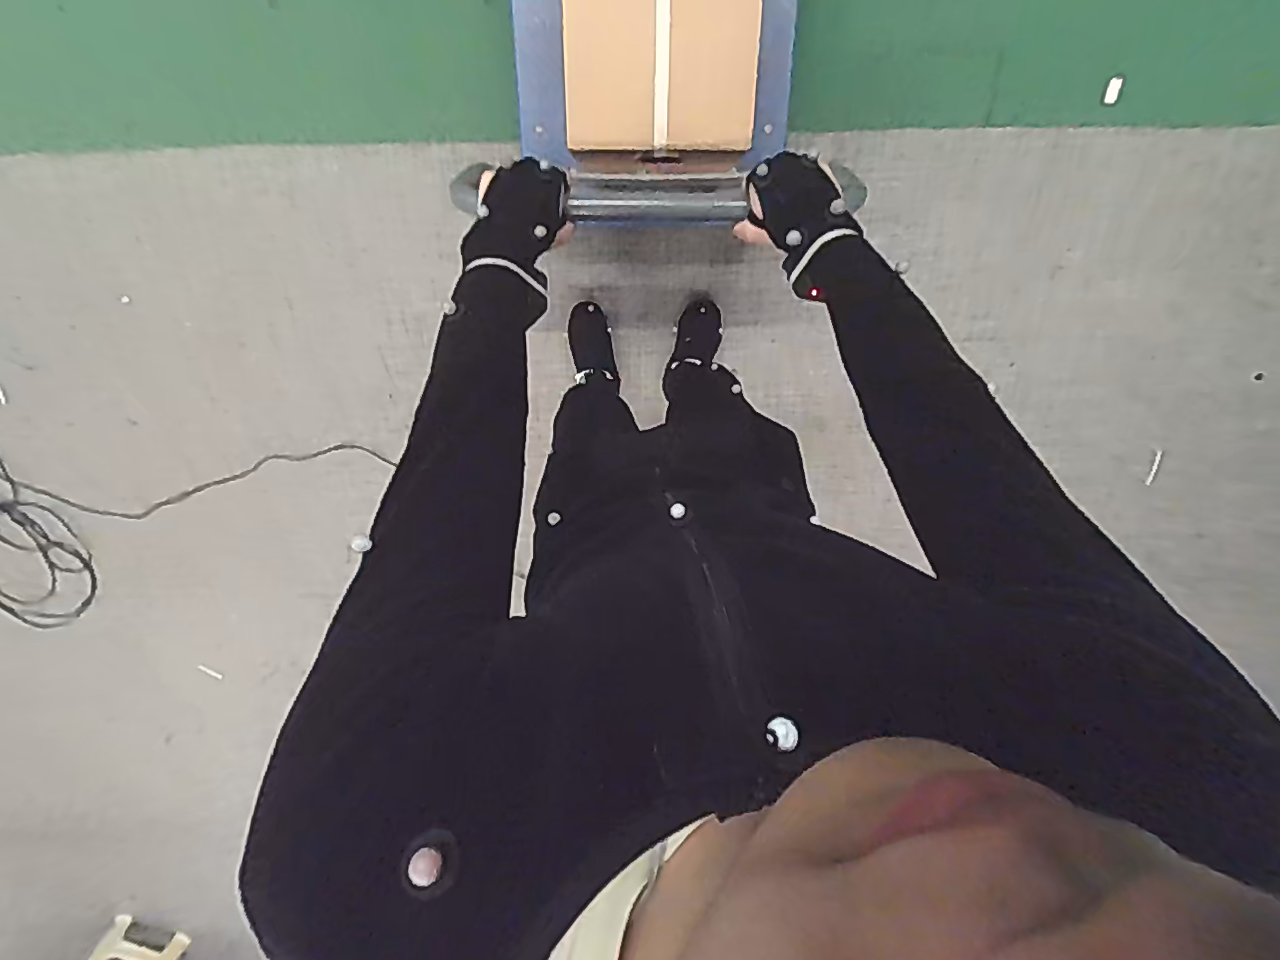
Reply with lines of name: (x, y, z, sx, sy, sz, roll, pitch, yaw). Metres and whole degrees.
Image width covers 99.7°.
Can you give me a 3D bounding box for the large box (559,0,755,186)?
large box: (0.033, -0.789, 0.993, 0.320, 0.320, 0.408, 1, 112, 1)
